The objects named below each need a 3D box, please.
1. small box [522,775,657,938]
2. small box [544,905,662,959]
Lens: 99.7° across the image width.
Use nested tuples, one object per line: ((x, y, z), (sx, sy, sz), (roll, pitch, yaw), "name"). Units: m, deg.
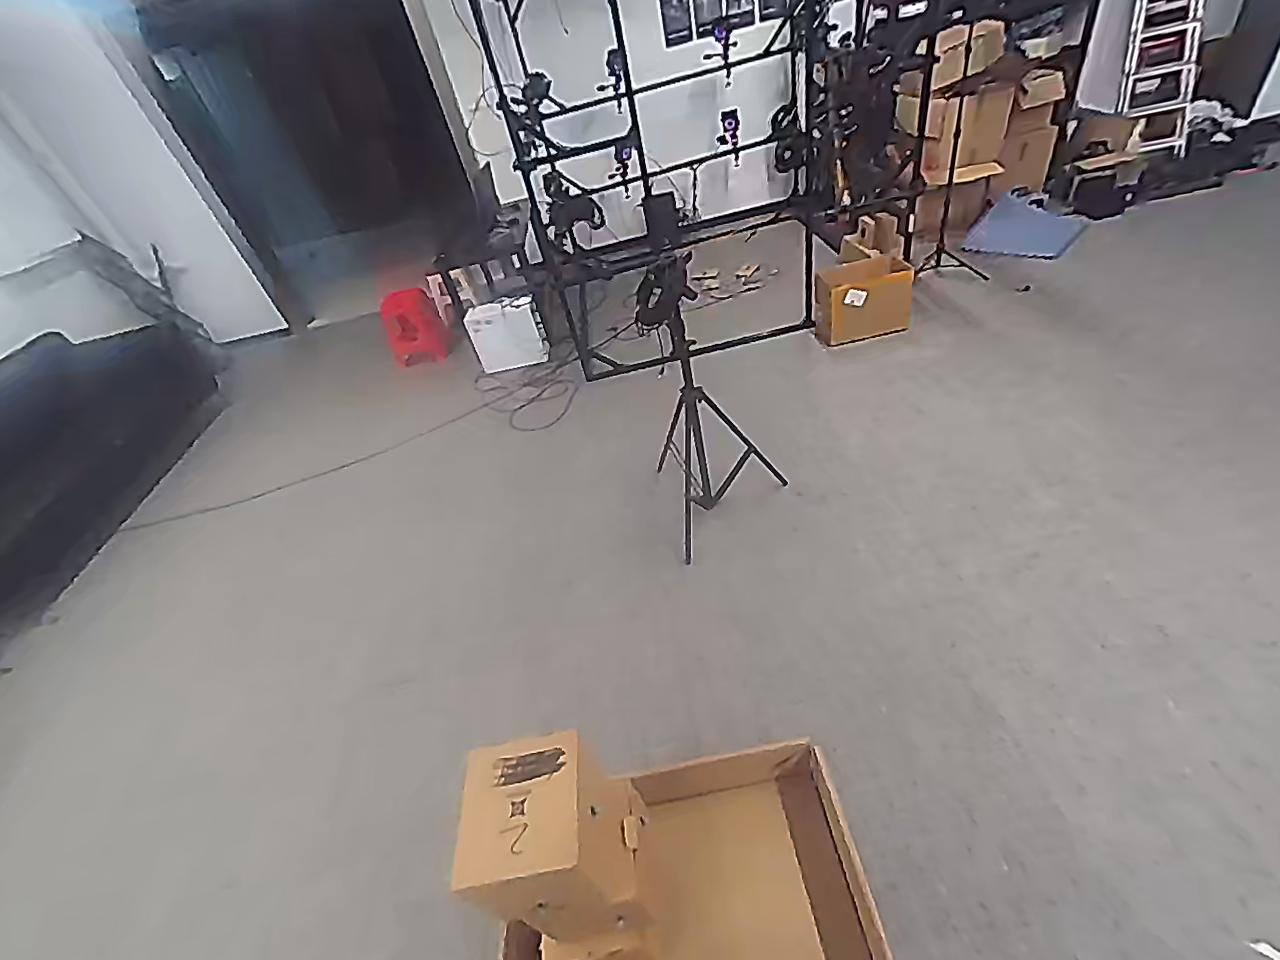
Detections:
((-0.074, 0.606, 0.870), (0.179, 0.176, 0.168), (-13, 39, 3), "small box")
((-0.067, 0.749, 0.958), (0.168, 0.176, 0.179), (-16, 39, 0), "small box")
